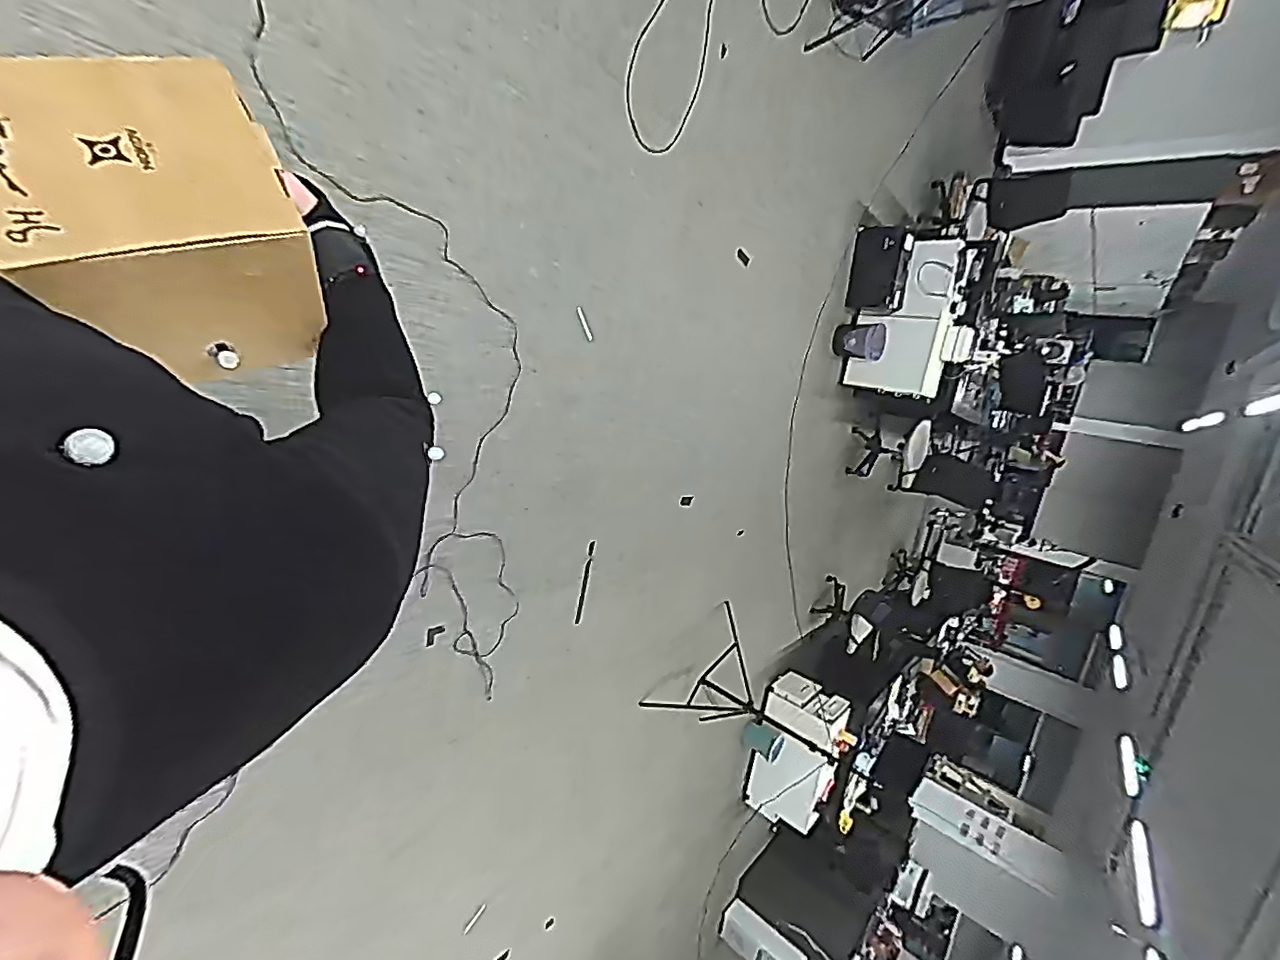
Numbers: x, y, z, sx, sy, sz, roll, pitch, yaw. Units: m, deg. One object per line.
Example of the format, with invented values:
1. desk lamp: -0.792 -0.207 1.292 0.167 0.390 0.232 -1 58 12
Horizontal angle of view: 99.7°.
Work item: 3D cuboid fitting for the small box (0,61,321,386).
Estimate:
1. small box: -0.391 -0.205 0.457 0.179 0.176 0.168 -24 81 -30
